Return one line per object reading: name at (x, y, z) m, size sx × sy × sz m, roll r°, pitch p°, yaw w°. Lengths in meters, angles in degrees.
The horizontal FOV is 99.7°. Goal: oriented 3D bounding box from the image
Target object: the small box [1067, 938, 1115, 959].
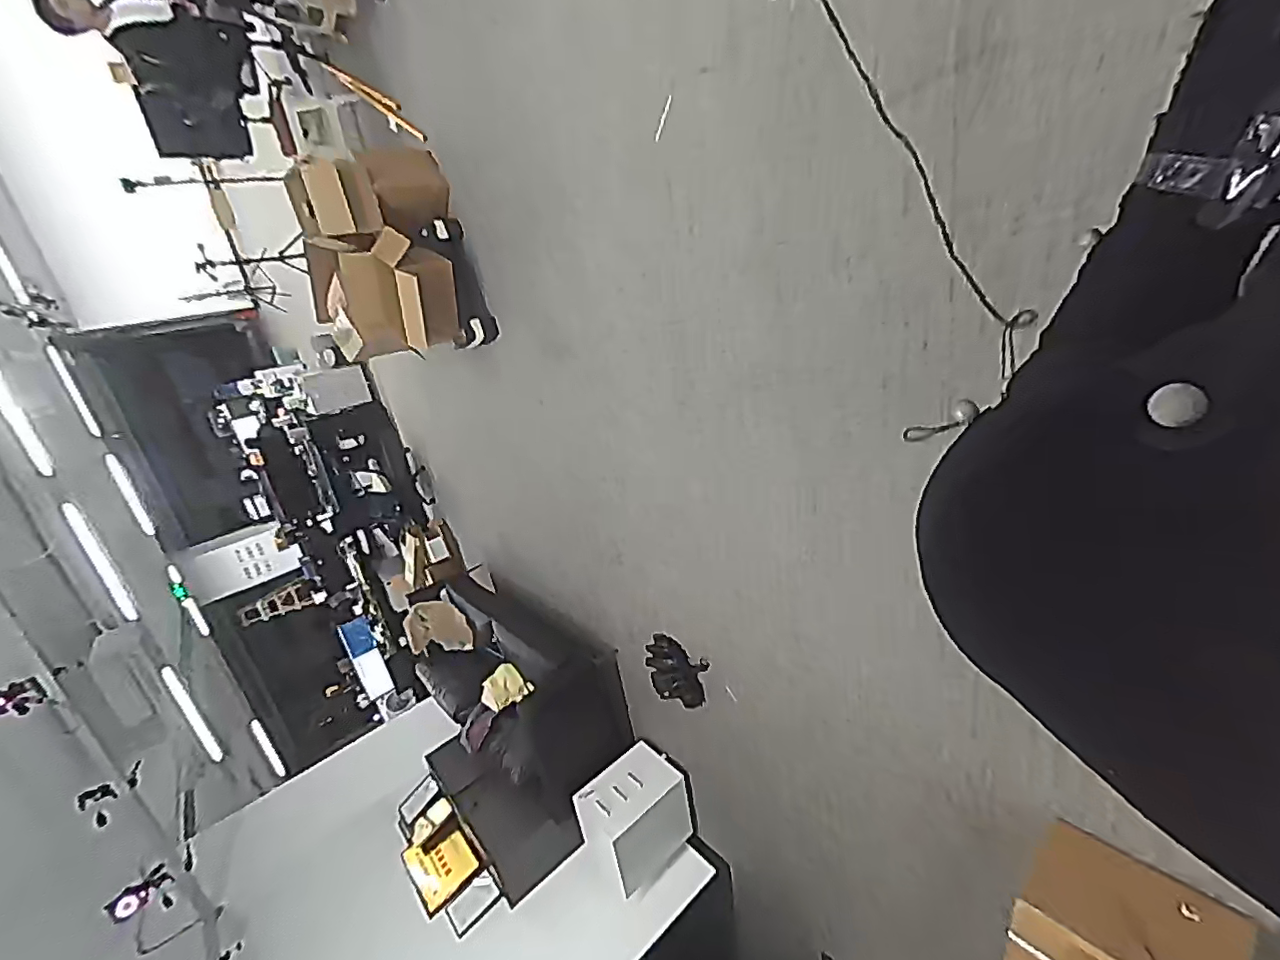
small box at (1.085, 1.236, 1.254) m, size 0.168 × 0.176 × 0.179 m, roll 10°, pitch 118°, yaw 50°
